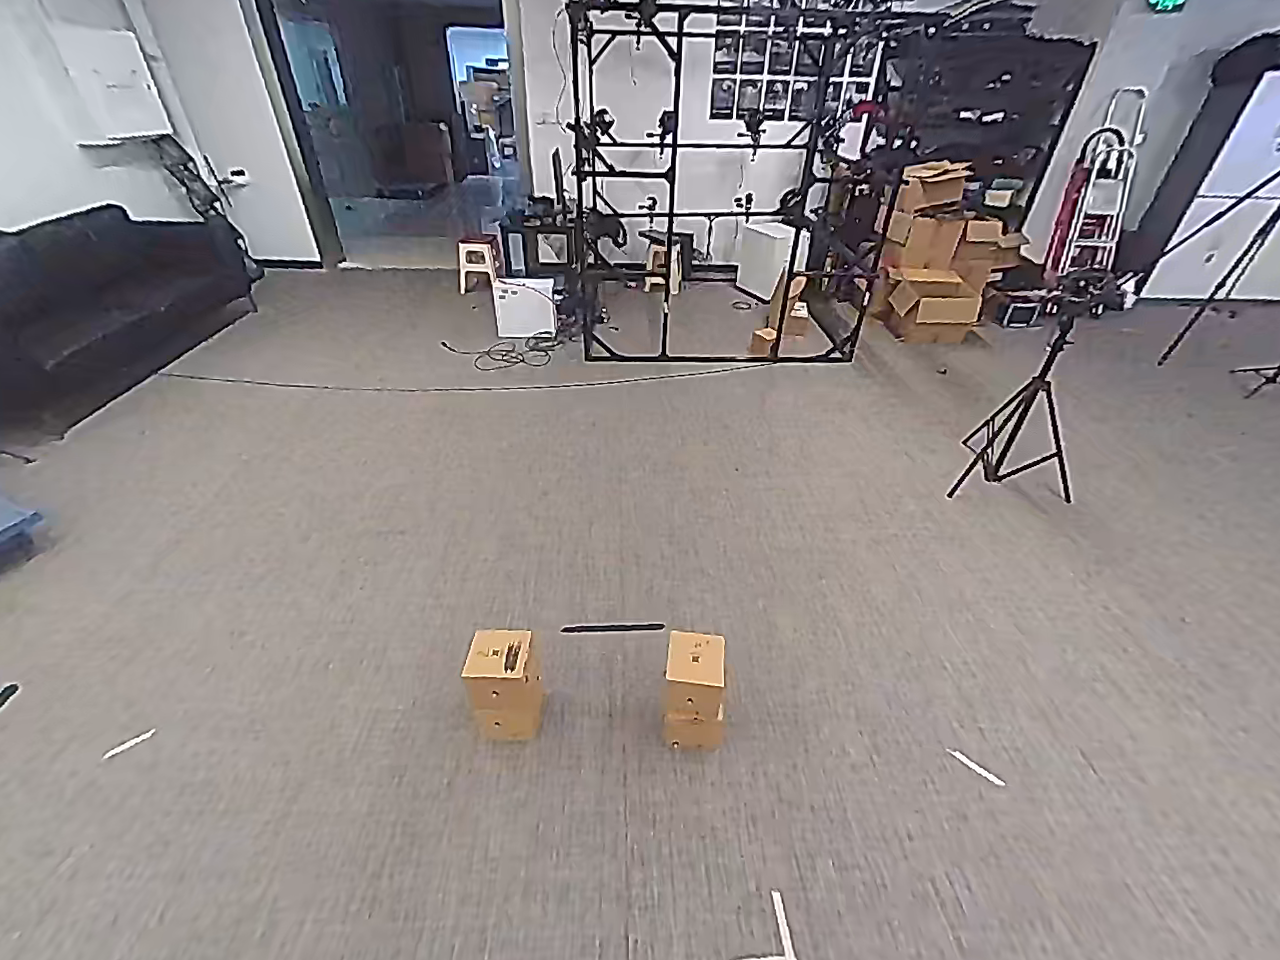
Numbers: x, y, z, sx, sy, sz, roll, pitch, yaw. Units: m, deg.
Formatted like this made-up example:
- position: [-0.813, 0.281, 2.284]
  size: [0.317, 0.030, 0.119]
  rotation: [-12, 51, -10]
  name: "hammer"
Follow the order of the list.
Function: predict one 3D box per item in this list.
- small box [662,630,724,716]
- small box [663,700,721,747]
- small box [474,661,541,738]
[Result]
- position: [0.158, 0.580, 1.619]
  size: [0.168, 0.176, 0.179]
  rotation: [6, 36, 5]
  name: "small box"
- position: [0.161, 0.720, 1.706]
  size: [0.168, 0.176, 0.179]
  rotation: [3, 36, 0]
  name: "small box"
- position: [-0.413, 0.698, 1.718]
  size: [0.168, 0.176, 0.179]
  rotation: [1, 36, 0]
  name: "small box"
